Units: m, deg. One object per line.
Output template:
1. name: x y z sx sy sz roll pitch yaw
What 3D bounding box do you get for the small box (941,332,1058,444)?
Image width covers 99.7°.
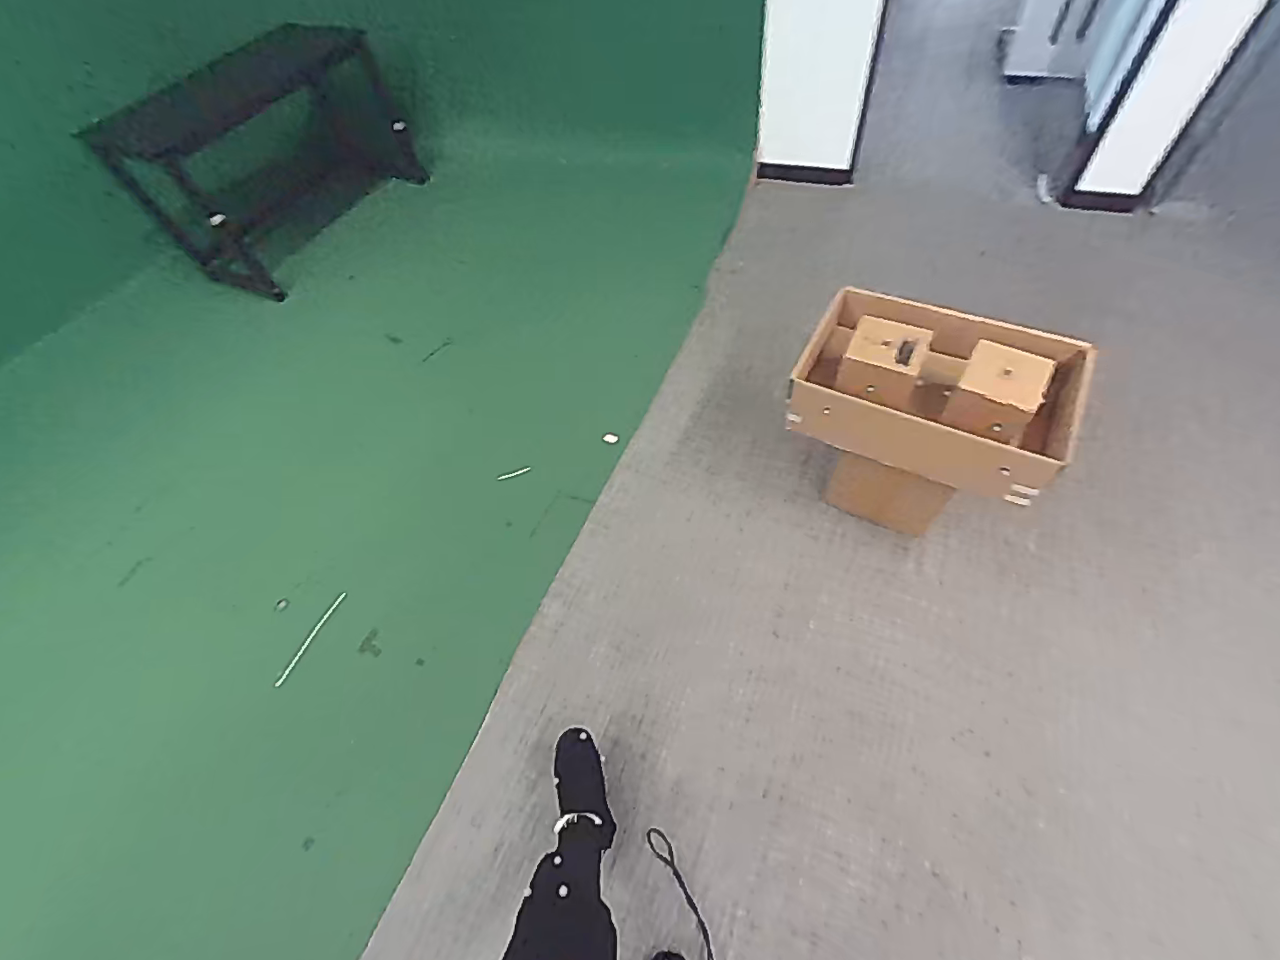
1. small box: 0.851 -0.215 1.297 0.168 0.176 0.179 27 66 23
